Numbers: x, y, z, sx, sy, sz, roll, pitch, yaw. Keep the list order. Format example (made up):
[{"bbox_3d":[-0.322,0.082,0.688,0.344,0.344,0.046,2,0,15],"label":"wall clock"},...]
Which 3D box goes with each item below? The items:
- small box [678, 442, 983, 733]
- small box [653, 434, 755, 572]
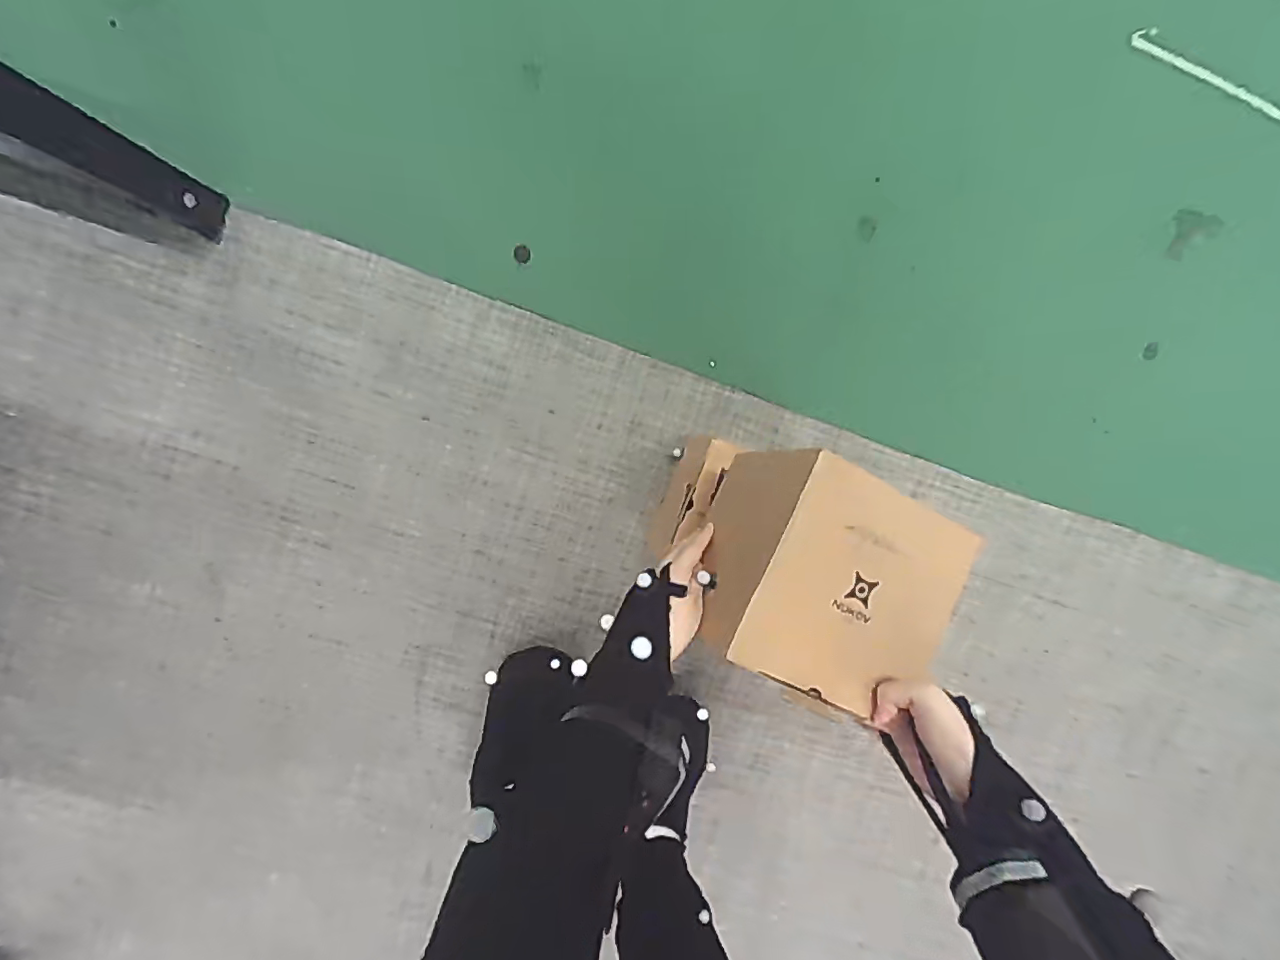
[{"bbox_3d":[0.149,0.082,0.484,0.168,0.176,0.179,26,86,-12],"label":"small box"},{"bbox_3d":[0.128,0.047,0.701,0.179,0.176,0.168,22,95,-8],"label":"small box"}]
